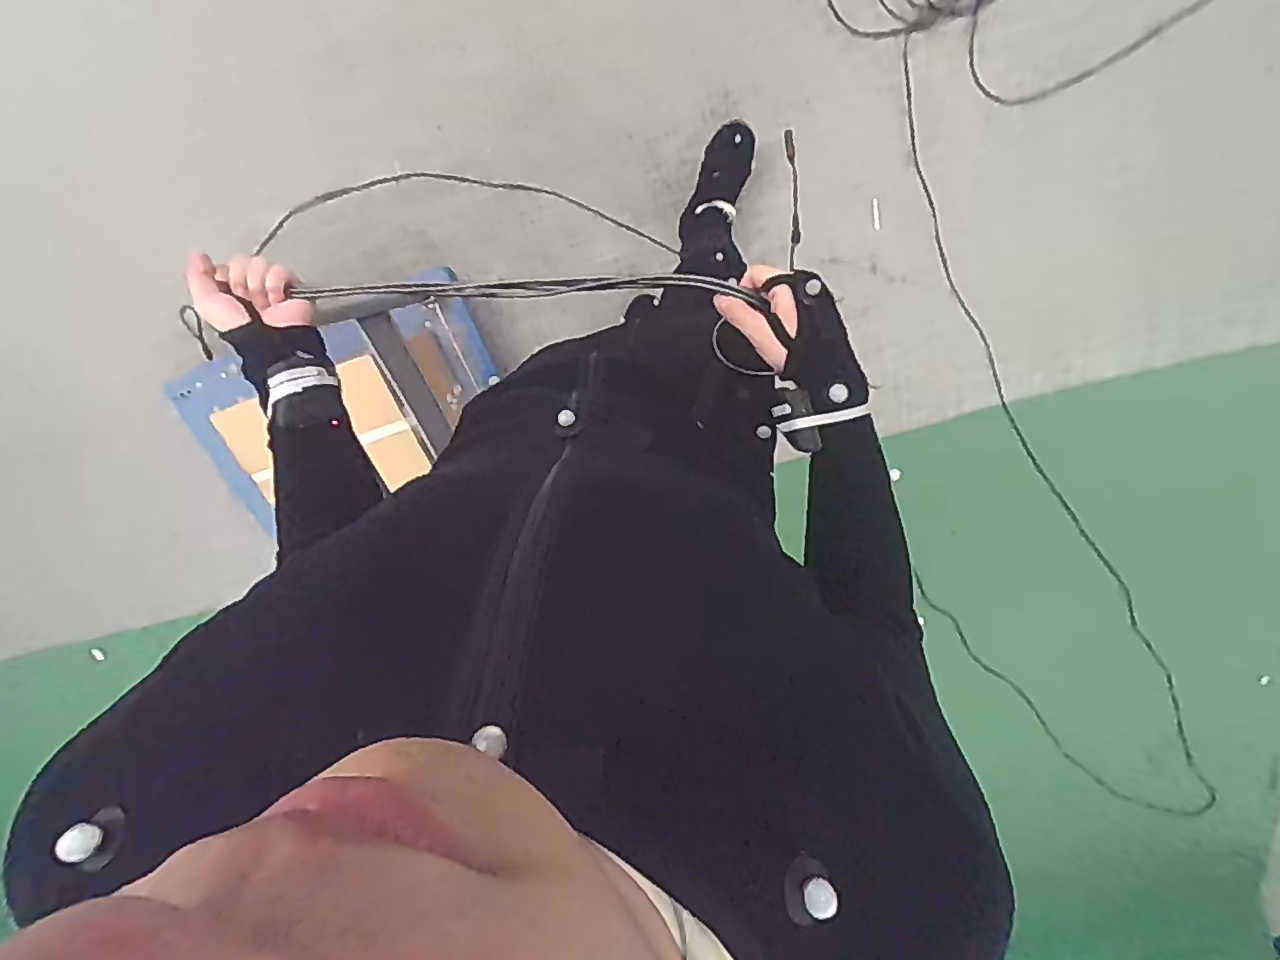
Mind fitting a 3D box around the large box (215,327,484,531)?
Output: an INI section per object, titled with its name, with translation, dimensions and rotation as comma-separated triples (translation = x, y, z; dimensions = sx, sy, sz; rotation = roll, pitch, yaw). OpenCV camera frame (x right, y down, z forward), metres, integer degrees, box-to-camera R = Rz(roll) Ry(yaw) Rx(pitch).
[large box]
translation = -0.656, -0.132, 1.295
dimensions = 0.408, 0.320, 0.320
rotation = -17, 112, 11
